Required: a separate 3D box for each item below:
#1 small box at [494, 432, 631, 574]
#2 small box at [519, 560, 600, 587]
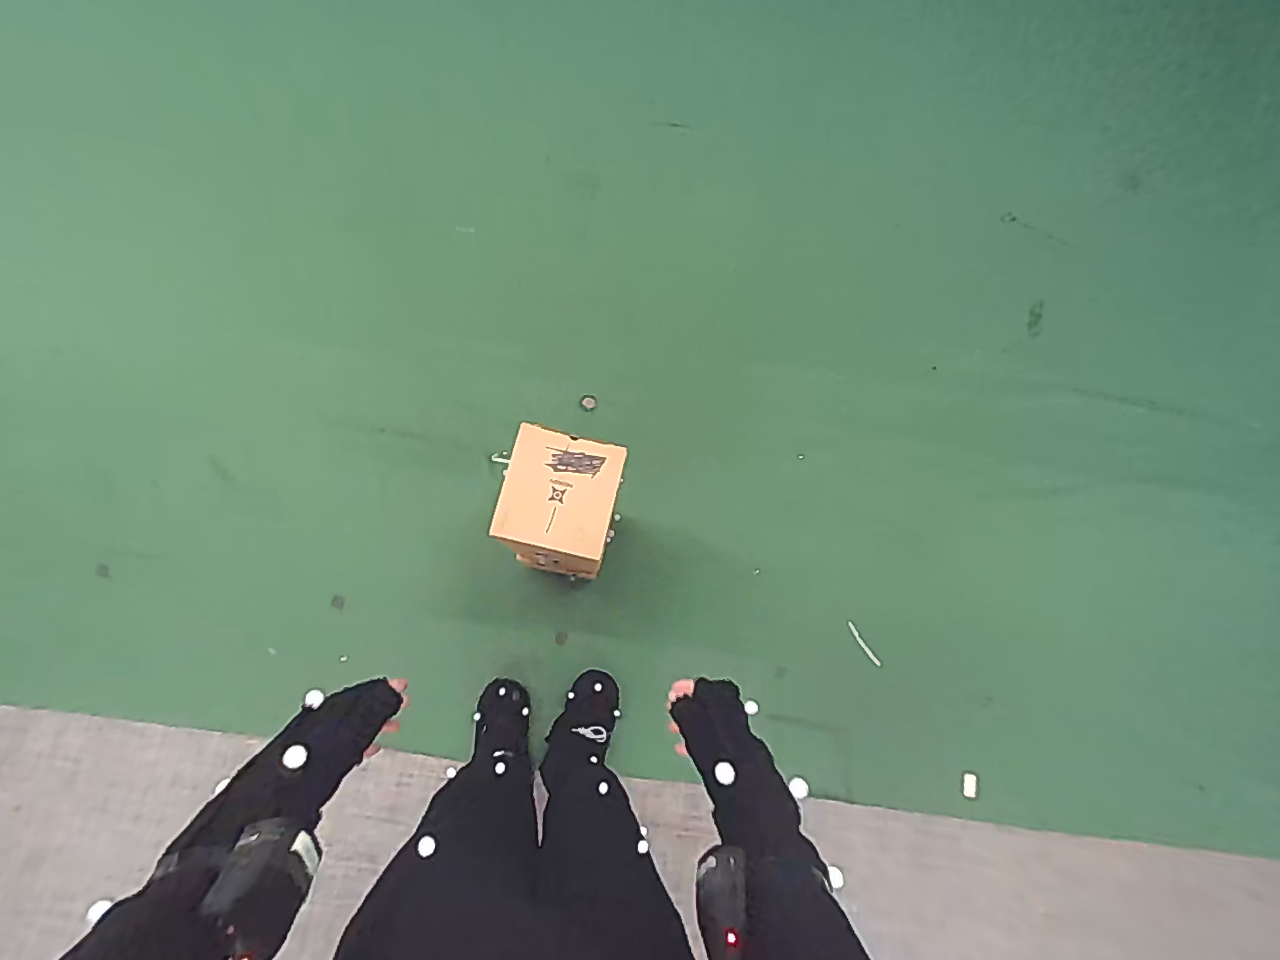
[{"bbox_3d":[-0.119,0.046,0.865,0.168,0.176,0.179,14,77,-2],"label":"small box"},{"bbox_3d":[-0.150,0.127,1.162,0.168,0.176,0.179,14,75,-4],"label":"small box"}]
